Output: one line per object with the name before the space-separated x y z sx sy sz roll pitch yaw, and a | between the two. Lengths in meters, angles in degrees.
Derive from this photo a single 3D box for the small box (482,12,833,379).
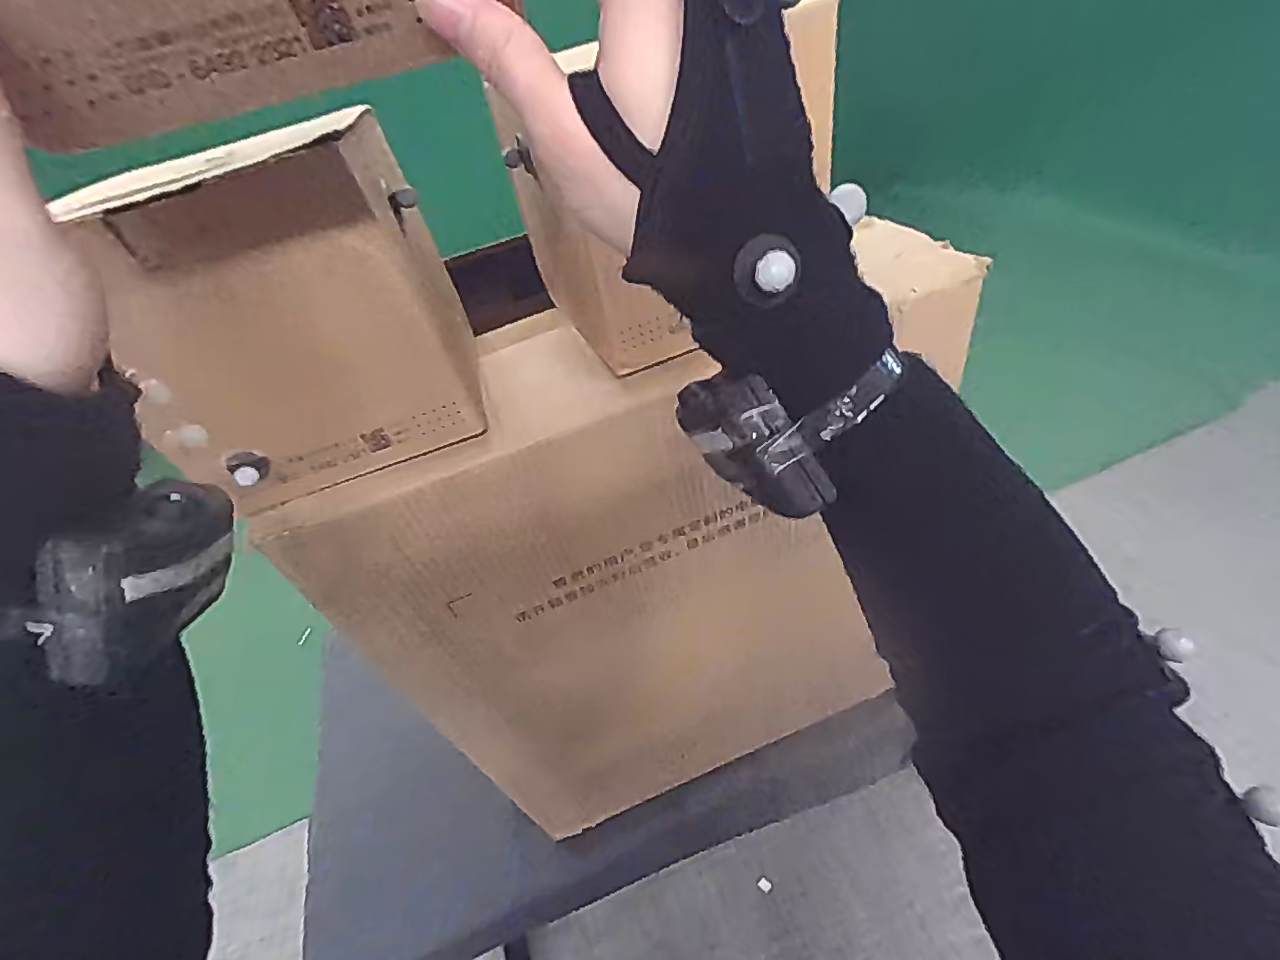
small box | 0.010 -0.198 0.382 0.168 0.176 0.179 -25 44 -10

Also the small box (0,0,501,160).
small box | -0.148 -0.224 0.128 0.168 0.176 0.179 -17 76 -3

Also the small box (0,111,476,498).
small box | -0.218 -0.109 0.351 0.168 0.176 0.179 -20 41 -3
